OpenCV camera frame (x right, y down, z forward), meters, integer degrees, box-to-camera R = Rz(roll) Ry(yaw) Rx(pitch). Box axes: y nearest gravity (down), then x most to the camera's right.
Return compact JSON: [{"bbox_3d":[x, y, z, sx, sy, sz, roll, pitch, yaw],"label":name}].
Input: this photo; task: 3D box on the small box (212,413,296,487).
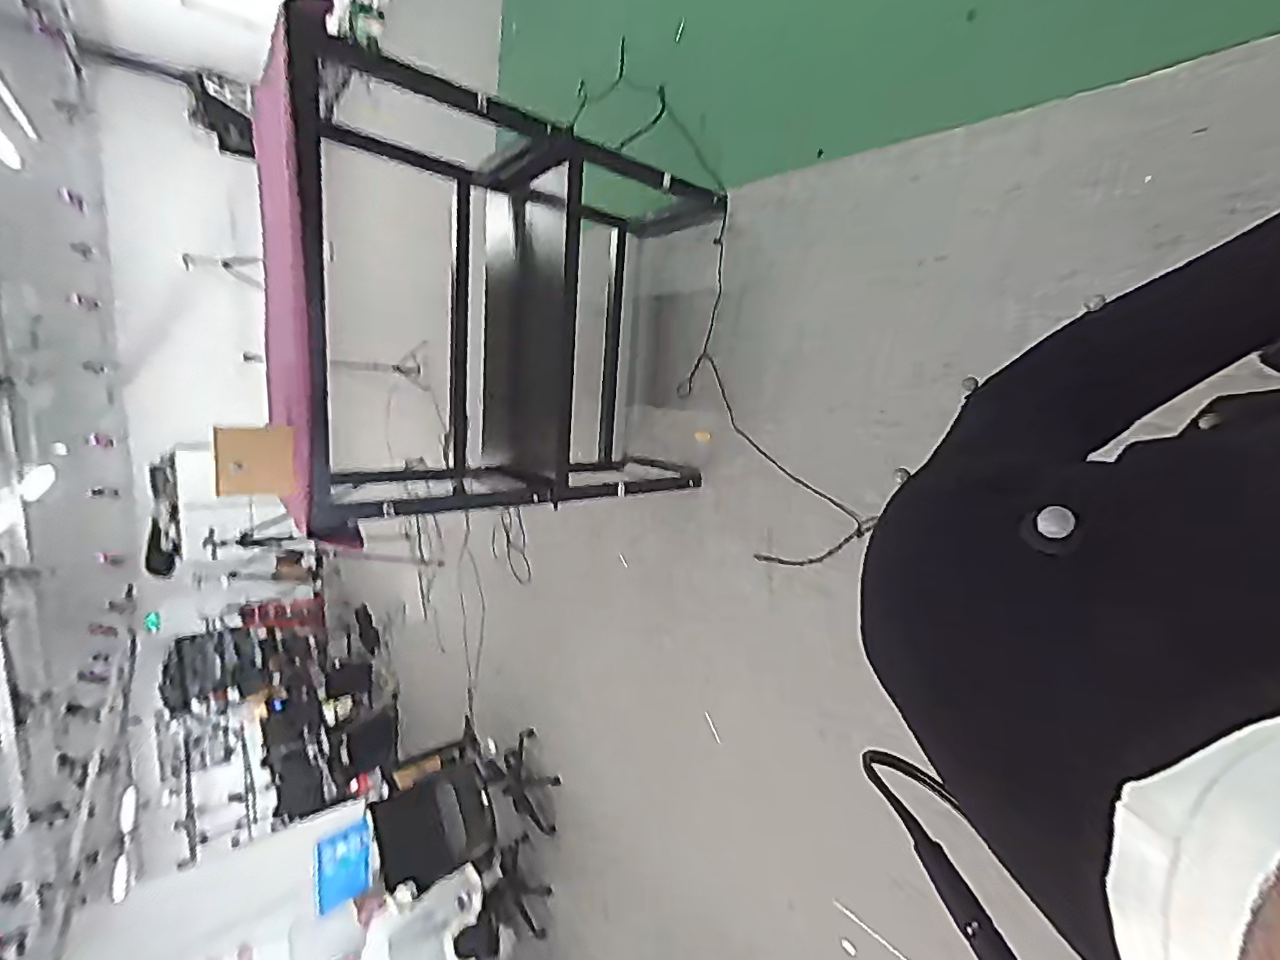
[{"bbox_3d":[-1.009,-0.081,1.415,0.168,0.176,0.179,11,100,49],"label":"small box"}]
